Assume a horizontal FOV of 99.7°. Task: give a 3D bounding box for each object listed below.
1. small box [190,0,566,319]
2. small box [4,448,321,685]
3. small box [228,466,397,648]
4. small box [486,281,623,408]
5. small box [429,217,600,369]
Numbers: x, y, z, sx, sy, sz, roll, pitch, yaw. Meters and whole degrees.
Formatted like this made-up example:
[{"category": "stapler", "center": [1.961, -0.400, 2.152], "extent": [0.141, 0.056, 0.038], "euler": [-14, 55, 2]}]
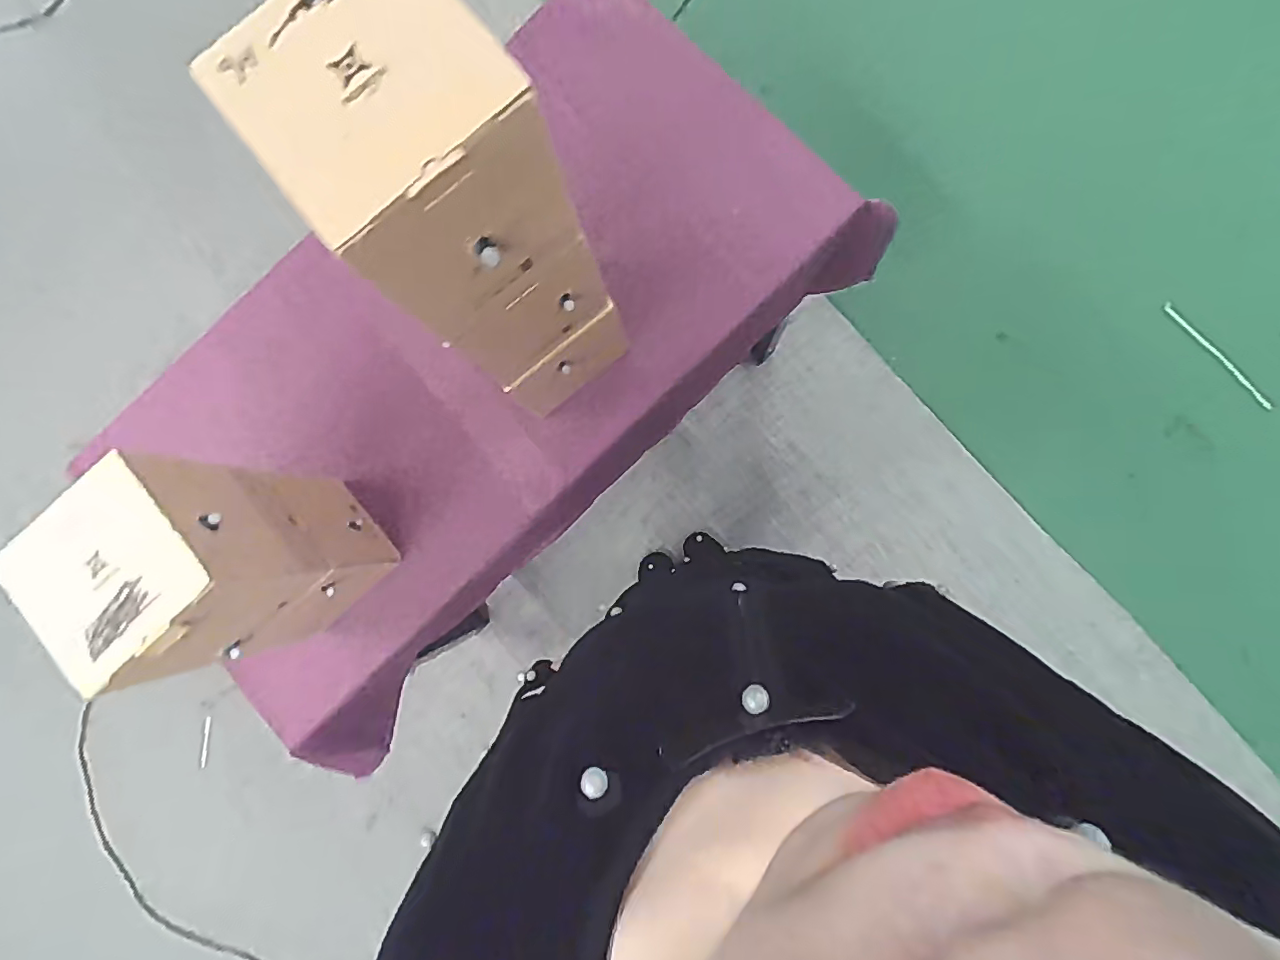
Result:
[{"category": "small box", "center": [-0.182, -0.254, 0.434], "extent": [0.168, 0.176, 0.179], "euler": [-39, 84, 1]}, {"category": "small box", "center": [-0.510, 0.089, 0.605], "extent": [0.168, 0.176, 0.179], "euler": [-43, 82, 0]}, {"category": "small box", "center": [-0.491, 0.105, 0.767], "extent": [0.179, 0.176, 0.168], "euler": [-42, 83, 0]}, {"category": "small box", "center": [-0.142, -0.224, 0.757], "extent": [0.179, 0.176, 0.168], "euler": [-38, 84, 2]}, {"category": "small box", "center": [-0.164, -0.243, 0.597], "extent": [0.168, 0.176, 0.179], "euler": [-38, 82, 1]}]
